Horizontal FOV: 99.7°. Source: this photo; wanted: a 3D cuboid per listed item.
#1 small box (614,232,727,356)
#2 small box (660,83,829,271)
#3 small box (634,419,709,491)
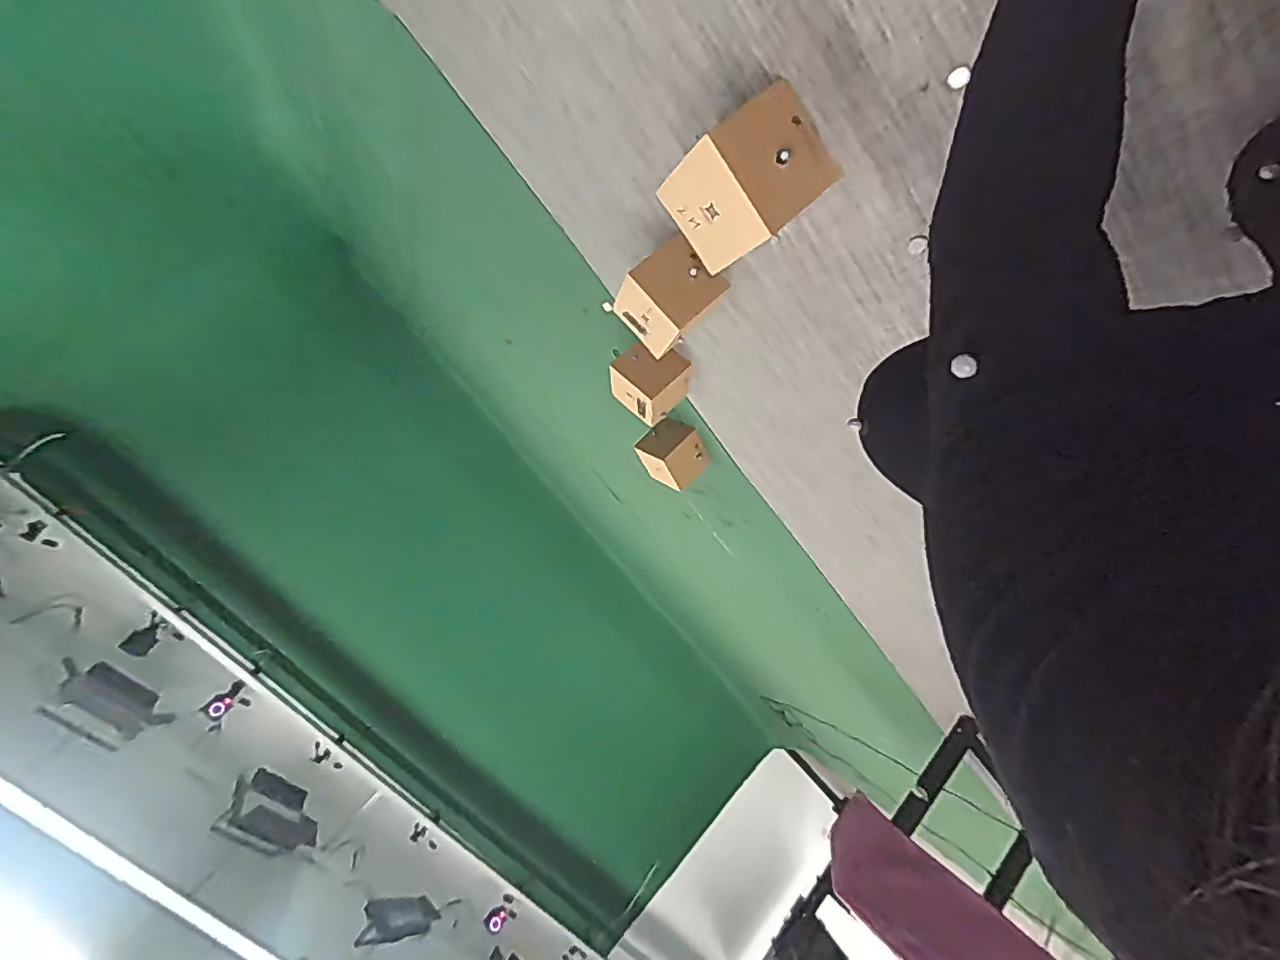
[{"bbox_3d":[0.069,-0.421,1.237,0.168,0.176,0.179,47,164,-4],"label":"small box"},{"bbox_3d":[0.169,-0.472,0.855,0.168,0.176,0.179,52,163,-16],"label":"small box"},{"bbox_3d":[0.115,-0.096,1.930,0.179,0.176,0.168,29,157,48],"label":"small box"}]
